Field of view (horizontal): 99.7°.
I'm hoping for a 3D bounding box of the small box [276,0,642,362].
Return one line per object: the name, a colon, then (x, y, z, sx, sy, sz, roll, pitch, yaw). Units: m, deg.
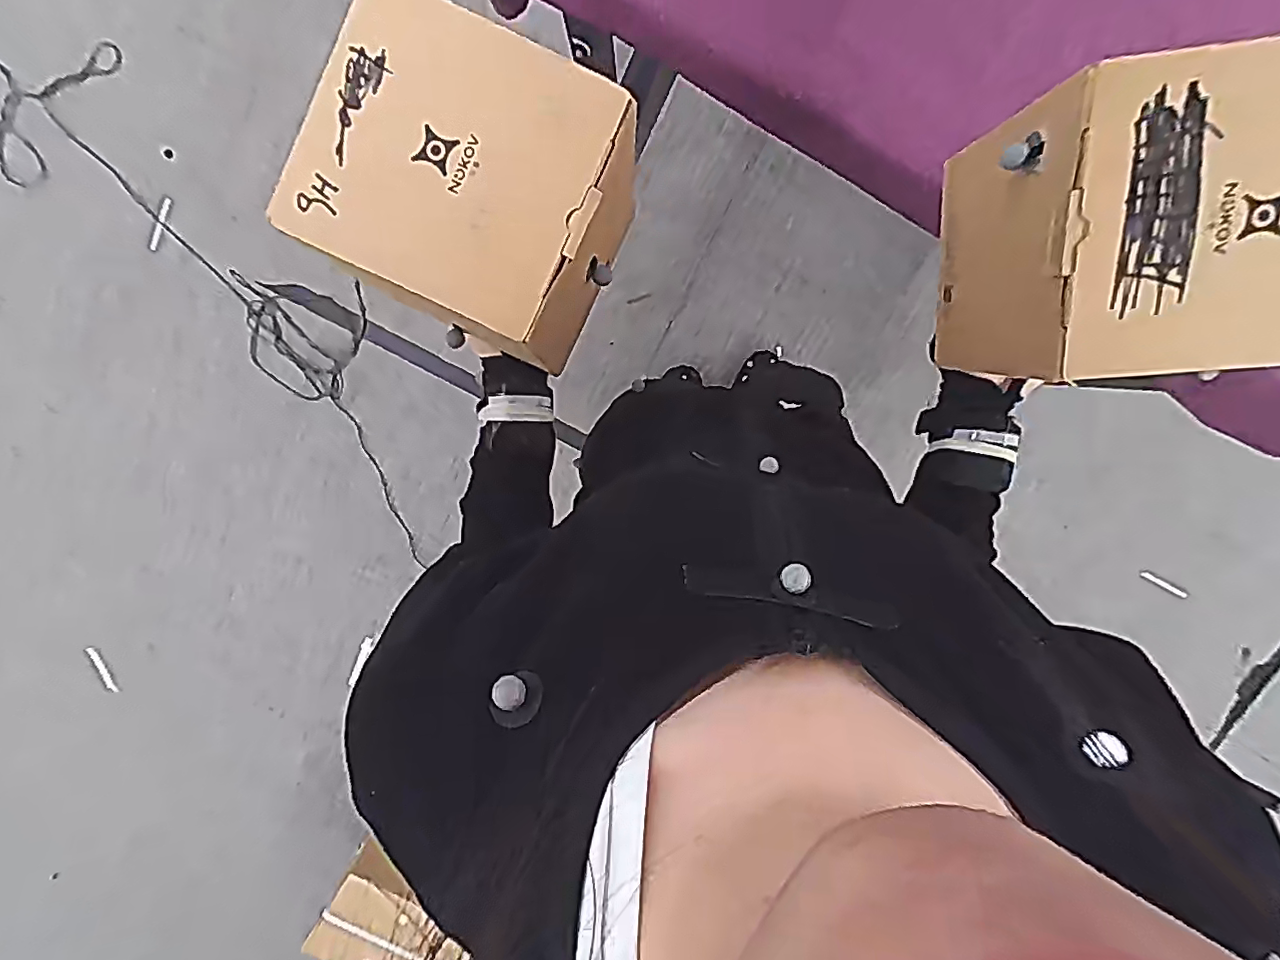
small box: (-0.112, -0.200, 0.406, 0.179, 0.176, 0.168, 24, 93, -4)
